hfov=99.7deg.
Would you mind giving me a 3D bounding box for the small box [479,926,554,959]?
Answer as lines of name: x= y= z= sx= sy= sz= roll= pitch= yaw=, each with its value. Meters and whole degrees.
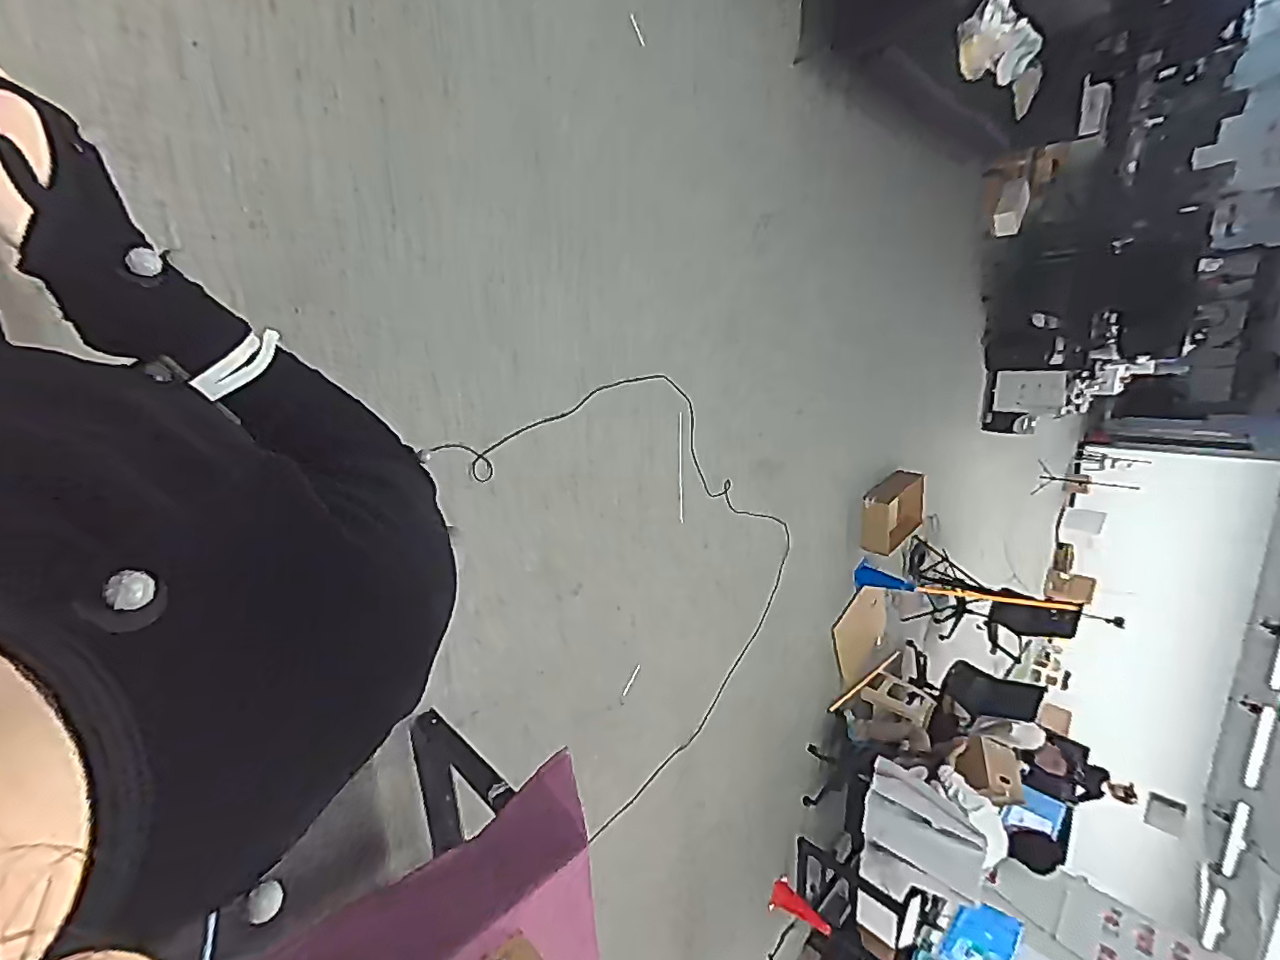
small box: x=-0.223 y=0.979 z=0.977 sx=0.168 sy=0.176 sz=0.179 roll=-10 pitch=105 yaw=-43
